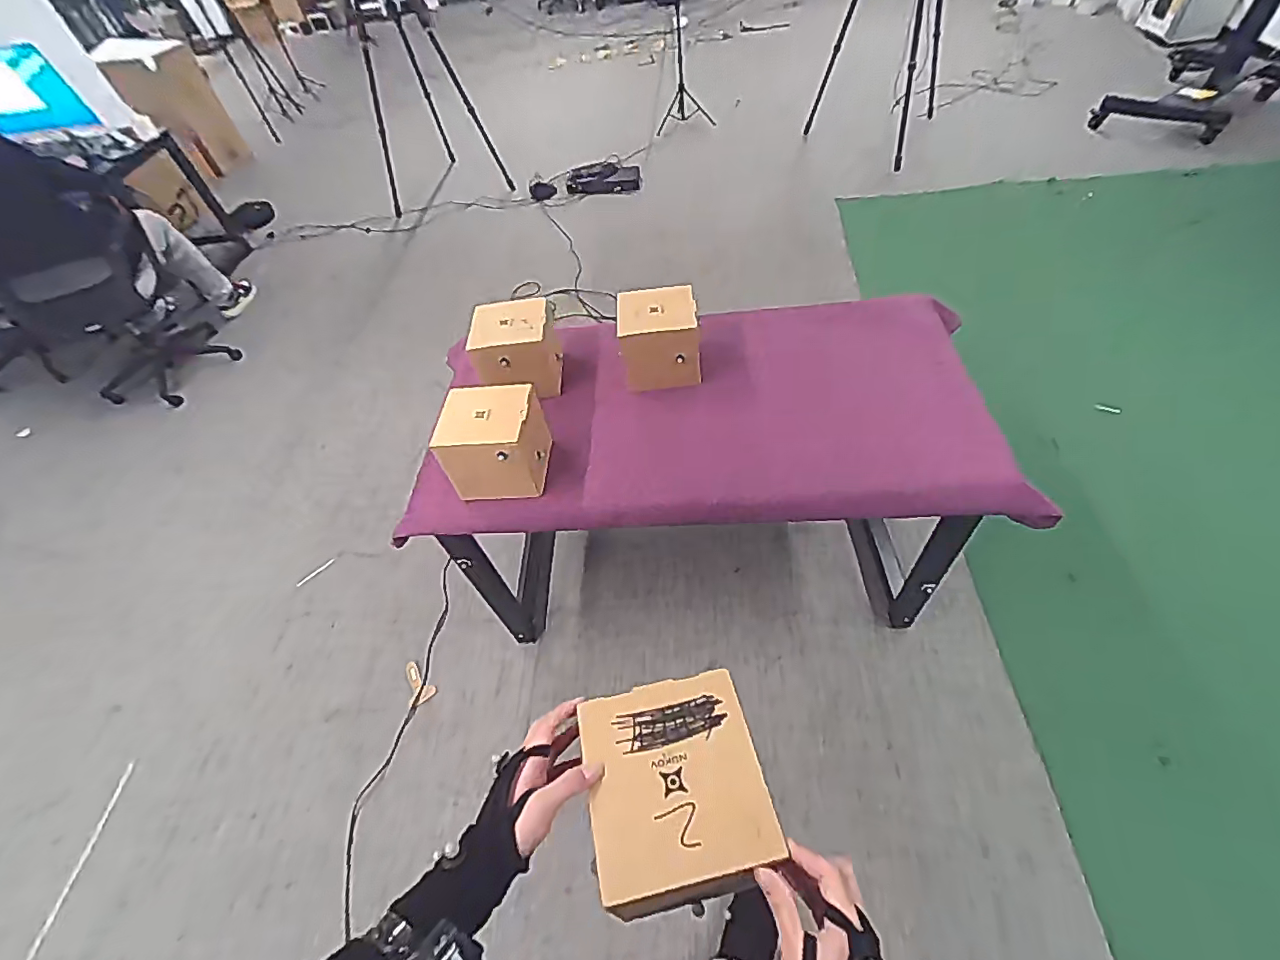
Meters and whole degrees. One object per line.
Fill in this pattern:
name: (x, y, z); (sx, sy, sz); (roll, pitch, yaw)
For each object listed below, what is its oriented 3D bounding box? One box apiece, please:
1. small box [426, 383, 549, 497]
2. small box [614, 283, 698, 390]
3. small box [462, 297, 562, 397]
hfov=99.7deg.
small box: (-0.300, -0.077, 1.101); (0.179, 0.176, 0.168); (-3, 50, 6)
small box: (0.041, -0.327, 1.247); (0.179, 0.176, 0.168); (-5, 51, 6)
small box: (-0.294, -0.306, 1.279); (0.179, 0.176, 0.168); (-6, 52, 4)
